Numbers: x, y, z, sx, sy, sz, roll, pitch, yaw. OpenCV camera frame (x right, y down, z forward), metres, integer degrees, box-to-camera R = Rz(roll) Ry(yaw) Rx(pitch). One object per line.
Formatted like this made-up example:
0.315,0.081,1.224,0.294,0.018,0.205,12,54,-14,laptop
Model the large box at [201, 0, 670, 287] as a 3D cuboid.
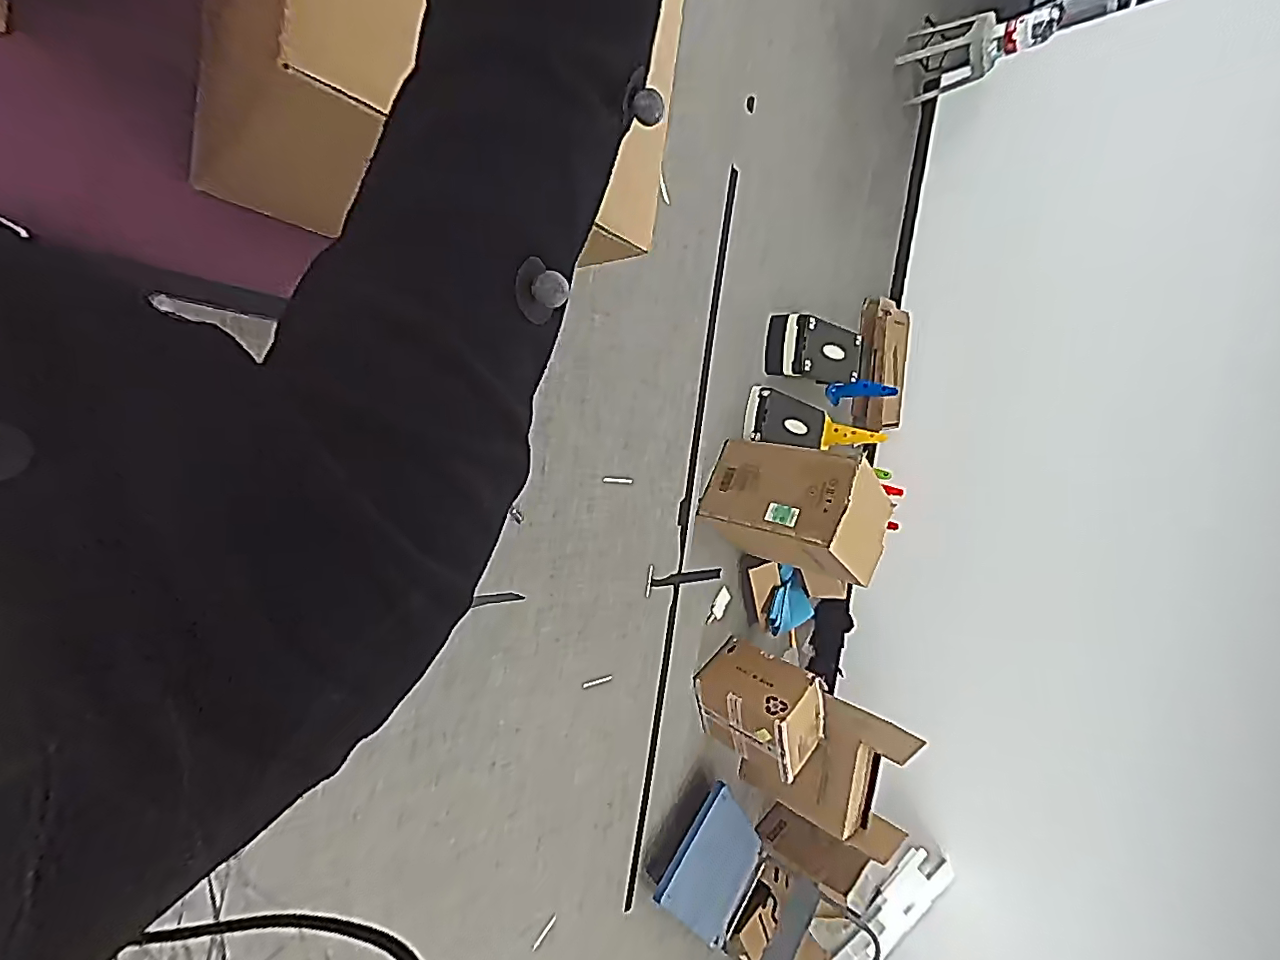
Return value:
-0.187,-0.437,0.506,0.320,0.320,0.408,3,95,-48,large box
